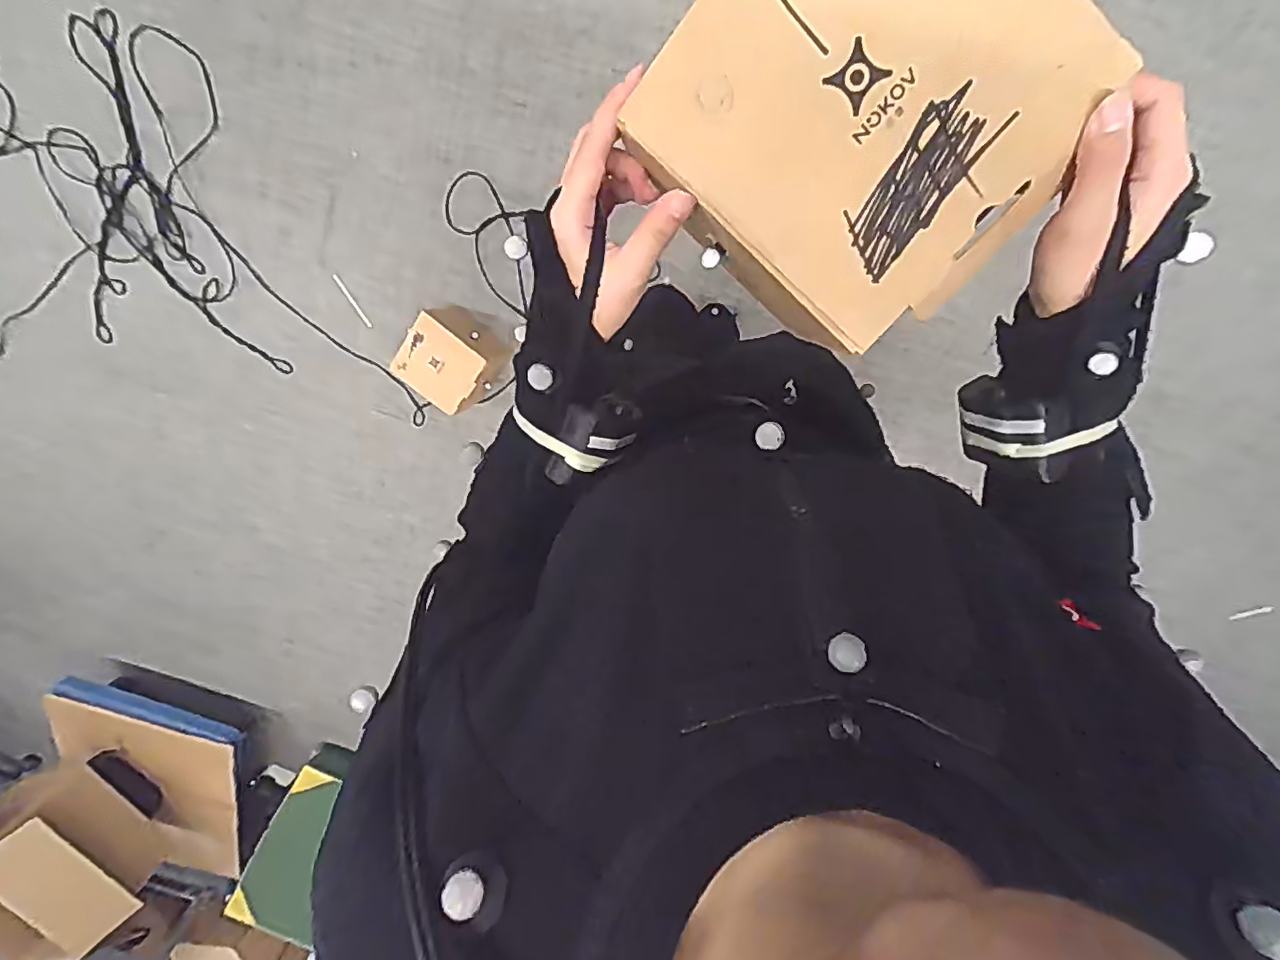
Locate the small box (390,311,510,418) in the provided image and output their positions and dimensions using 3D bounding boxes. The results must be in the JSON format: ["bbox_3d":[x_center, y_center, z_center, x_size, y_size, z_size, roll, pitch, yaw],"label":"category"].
[{"bbox_3d":[-0.434,-0.278,1.263,0.179,0.176,0.168,38,111,-8],"label":"small box"}]
